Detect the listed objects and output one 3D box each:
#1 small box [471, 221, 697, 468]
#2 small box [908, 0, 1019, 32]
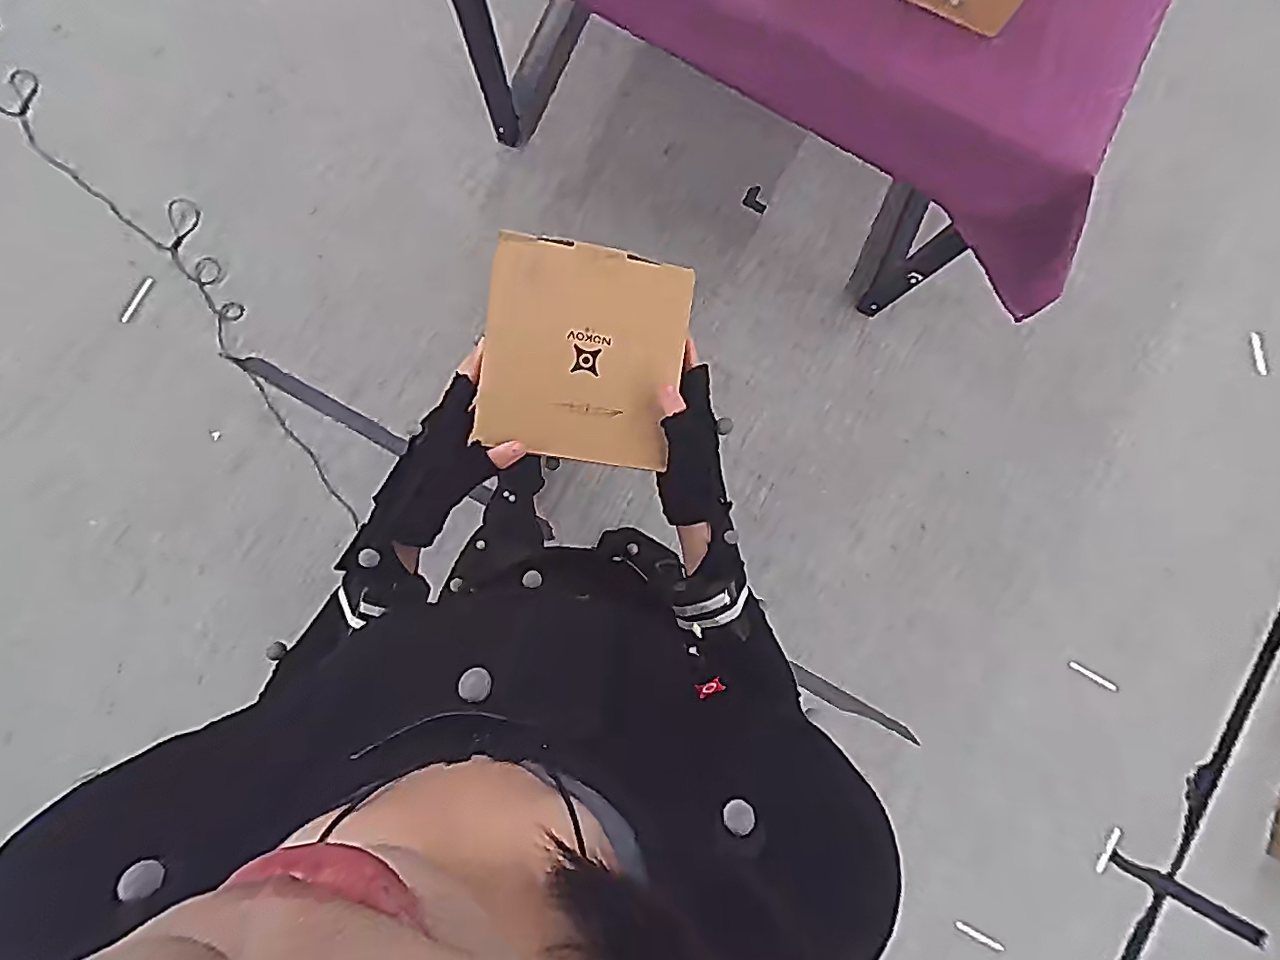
[{"bbox_3d":[-0.058,-0.113,0.519,0.168,0.176,0.179,8,94,-10],"label":"small box"},{"bbox_3d":[0.496,-0.787,0.754,0.179,0.176,0.168,23,87,-2],"label":"small box"}]
